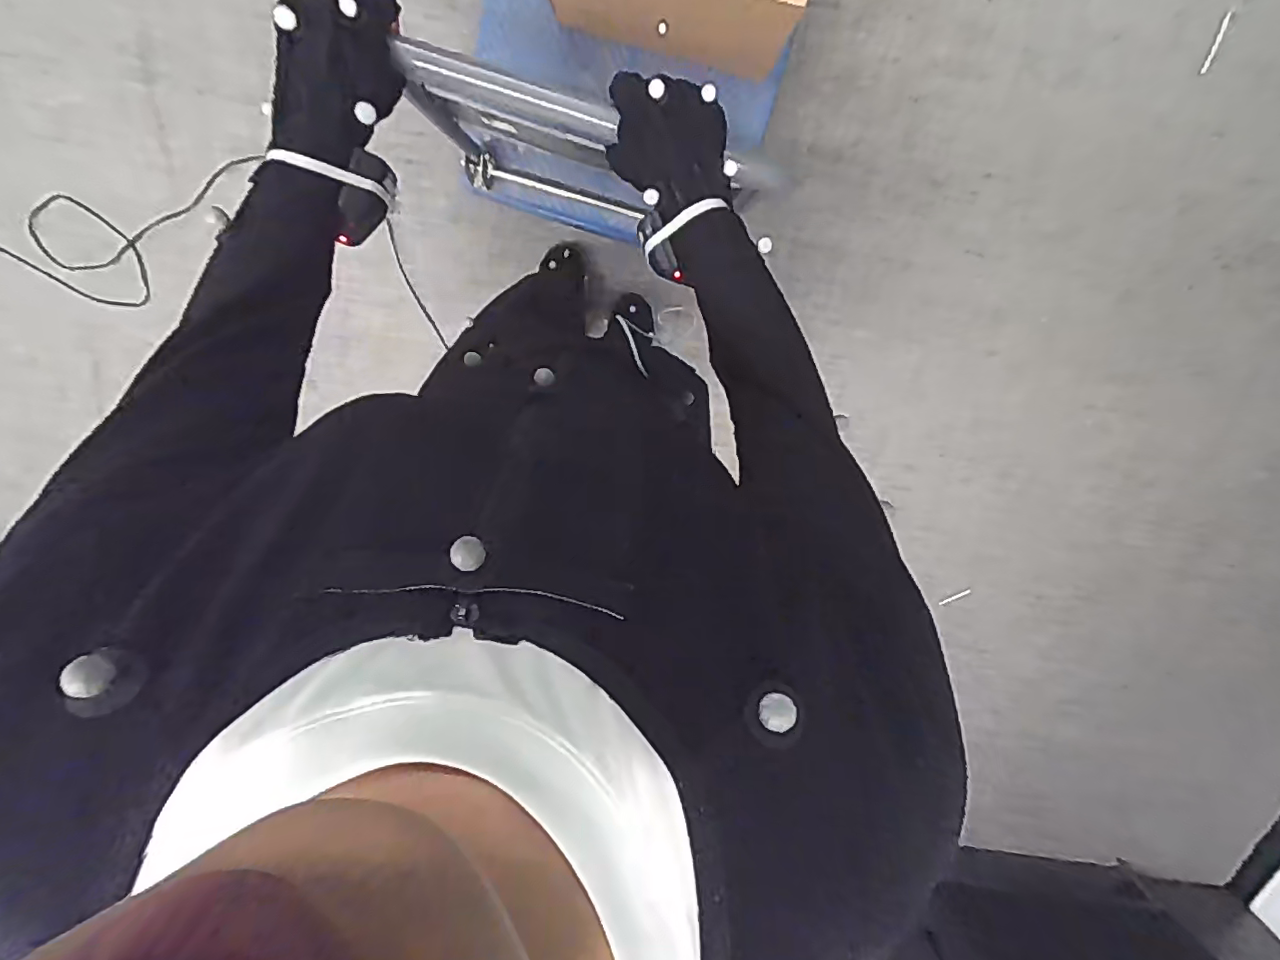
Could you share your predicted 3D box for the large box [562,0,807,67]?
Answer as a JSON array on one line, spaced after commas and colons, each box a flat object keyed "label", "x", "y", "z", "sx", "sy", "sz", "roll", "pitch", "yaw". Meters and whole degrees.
[{"label": "large box", "x": 0.083, "y": -0.912, "z": 0.841, "sx": 0.408, "sy": 0.320, "sz": 0.320, "roll": 13, "pitch": 111, "yaw": -3}]
